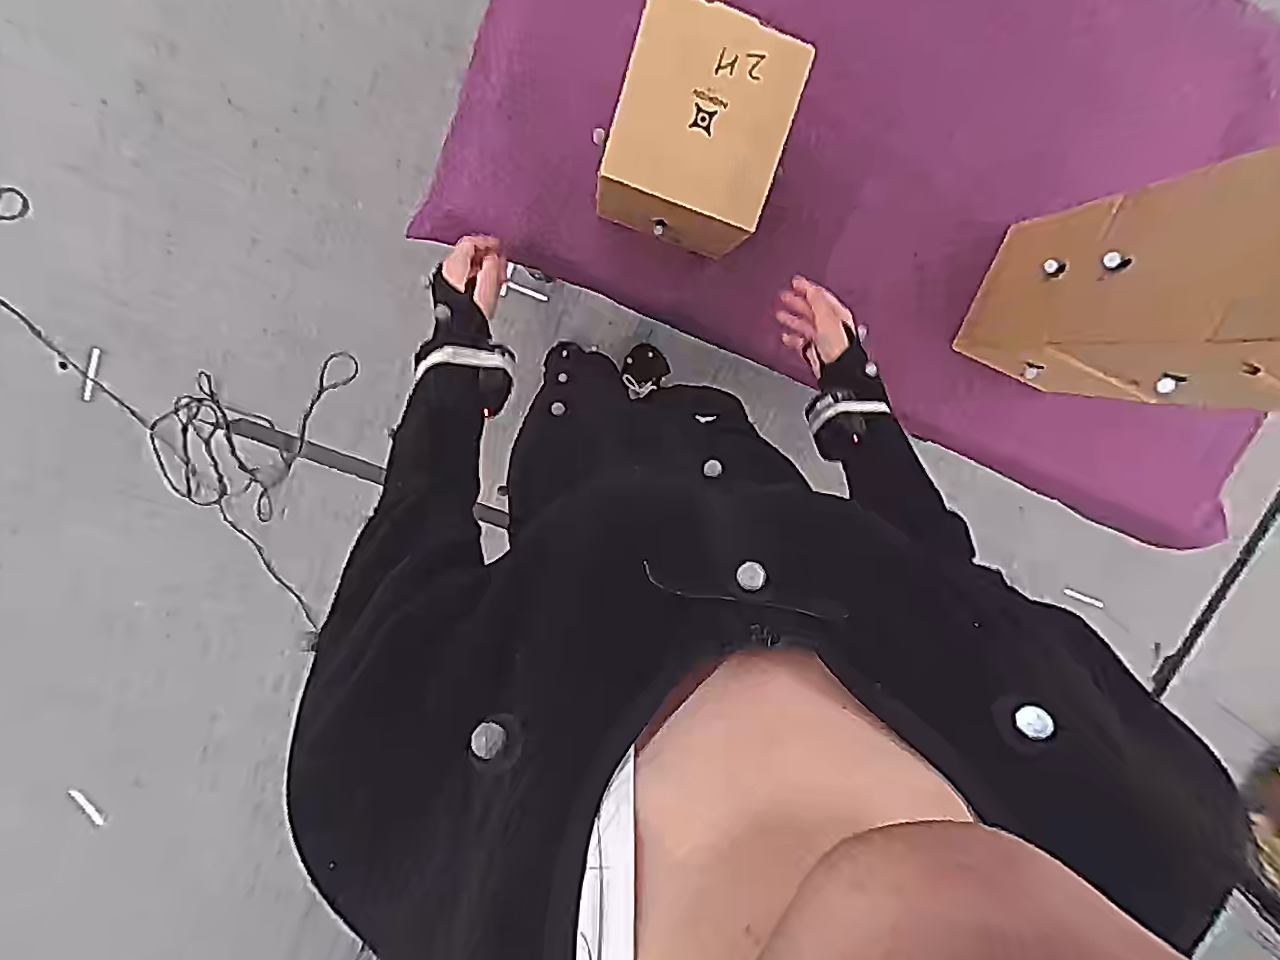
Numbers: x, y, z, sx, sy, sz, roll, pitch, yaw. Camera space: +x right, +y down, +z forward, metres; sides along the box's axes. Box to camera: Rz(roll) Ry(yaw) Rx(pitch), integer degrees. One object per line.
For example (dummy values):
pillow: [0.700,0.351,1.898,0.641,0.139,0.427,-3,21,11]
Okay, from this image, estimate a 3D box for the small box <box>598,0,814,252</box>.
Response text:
small box: [0.057,-0.372,0.592,0.168,0.176,0.179,16,101,-9]

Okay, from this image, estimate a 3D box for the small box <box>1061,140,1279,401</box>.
small box: [0.561,-0.184,0.517,0.168,0.176,0.179,21,101,-9]

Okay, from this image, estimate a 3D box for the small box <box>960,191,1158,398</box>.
small box: [0.546,-0.218,0.676,0.168,0.176,0.179,21,101,-9]
